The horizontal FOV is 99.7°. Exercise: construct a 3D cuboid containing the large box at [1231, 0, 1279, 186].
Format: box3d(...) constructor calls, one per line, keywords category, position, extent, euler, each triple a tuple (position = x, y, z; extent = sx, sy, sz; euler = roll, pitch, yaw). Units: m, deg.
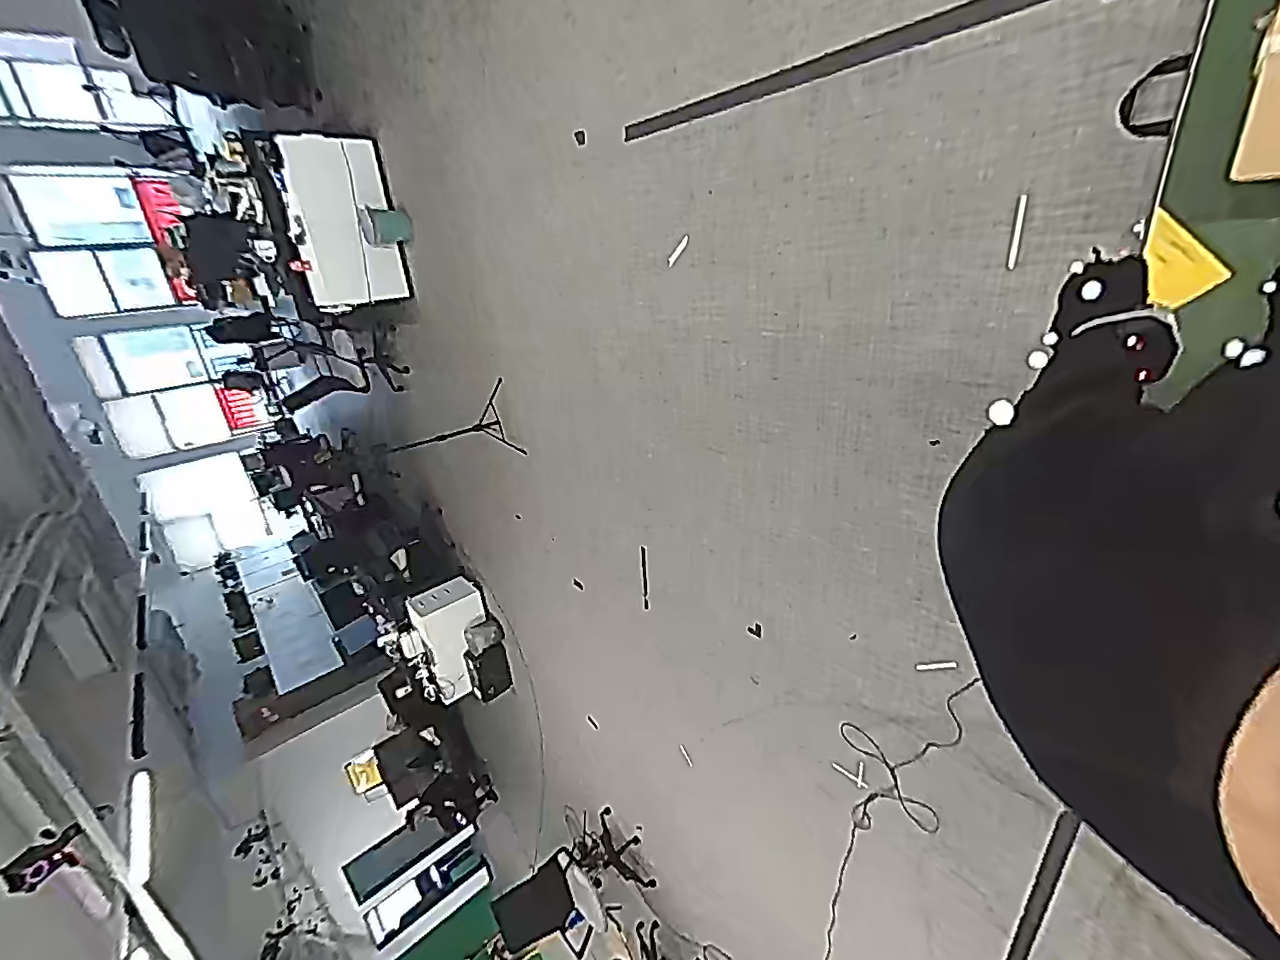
box3d(category="large box", position=(1.053, -0.563, 0.653), extent=(0.408, 0.320, 0.320), euler=(19, 123, 45))
